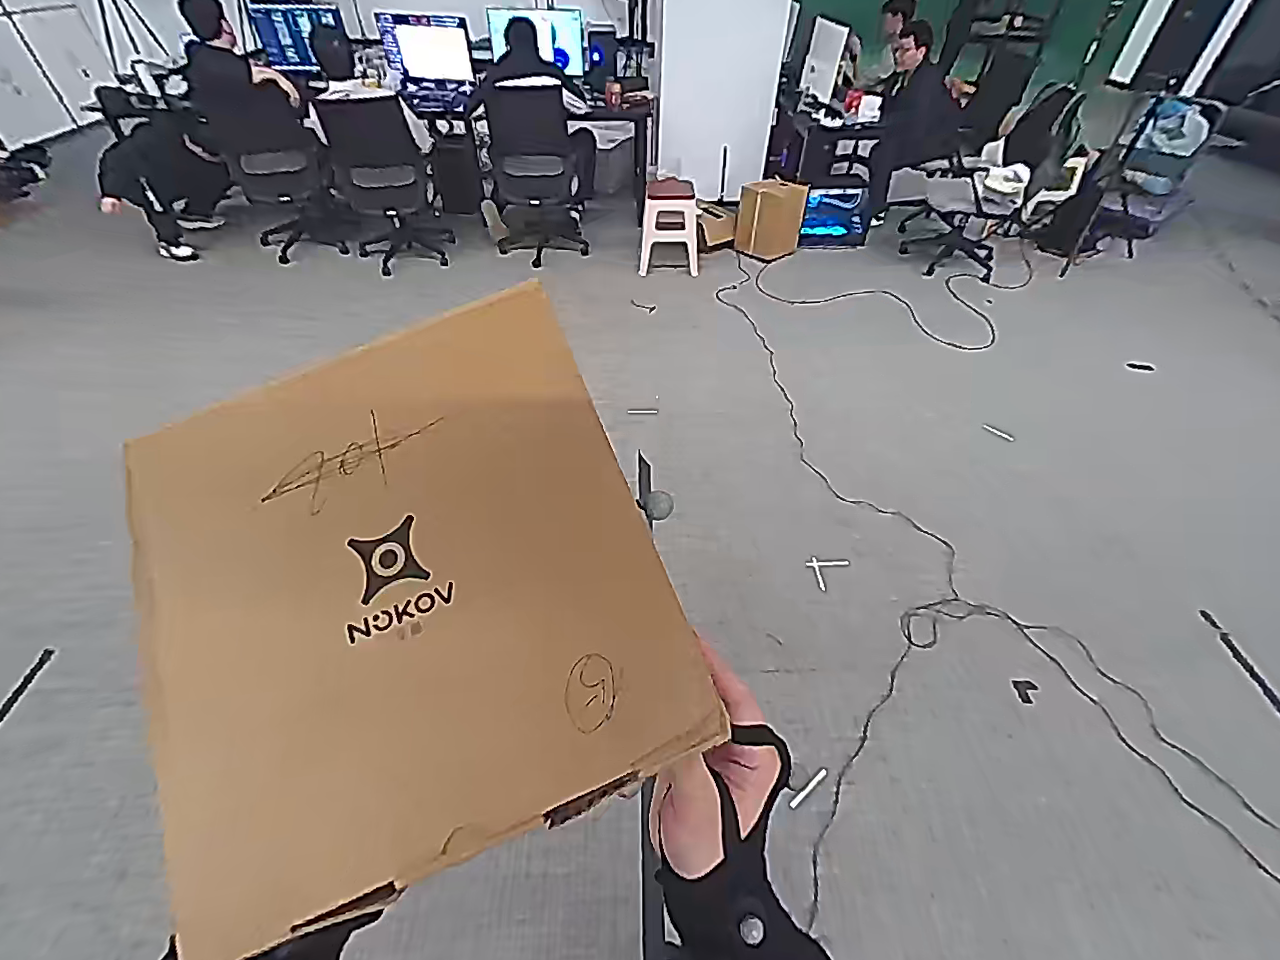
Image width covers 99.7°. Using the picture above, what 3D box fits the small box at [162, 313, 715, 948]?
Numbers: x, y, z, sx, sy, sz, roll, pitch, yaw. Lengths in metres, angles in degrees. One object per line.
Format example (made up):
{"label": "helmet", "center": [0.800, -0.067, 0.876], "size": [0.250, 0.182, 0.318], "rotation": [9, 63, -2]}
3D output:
{"label": "small box", "center": [-0.075, 0.060, 0.268], "size": [0.168, 0.176, 0.179], "rotation": [-24, 71, -4]}
